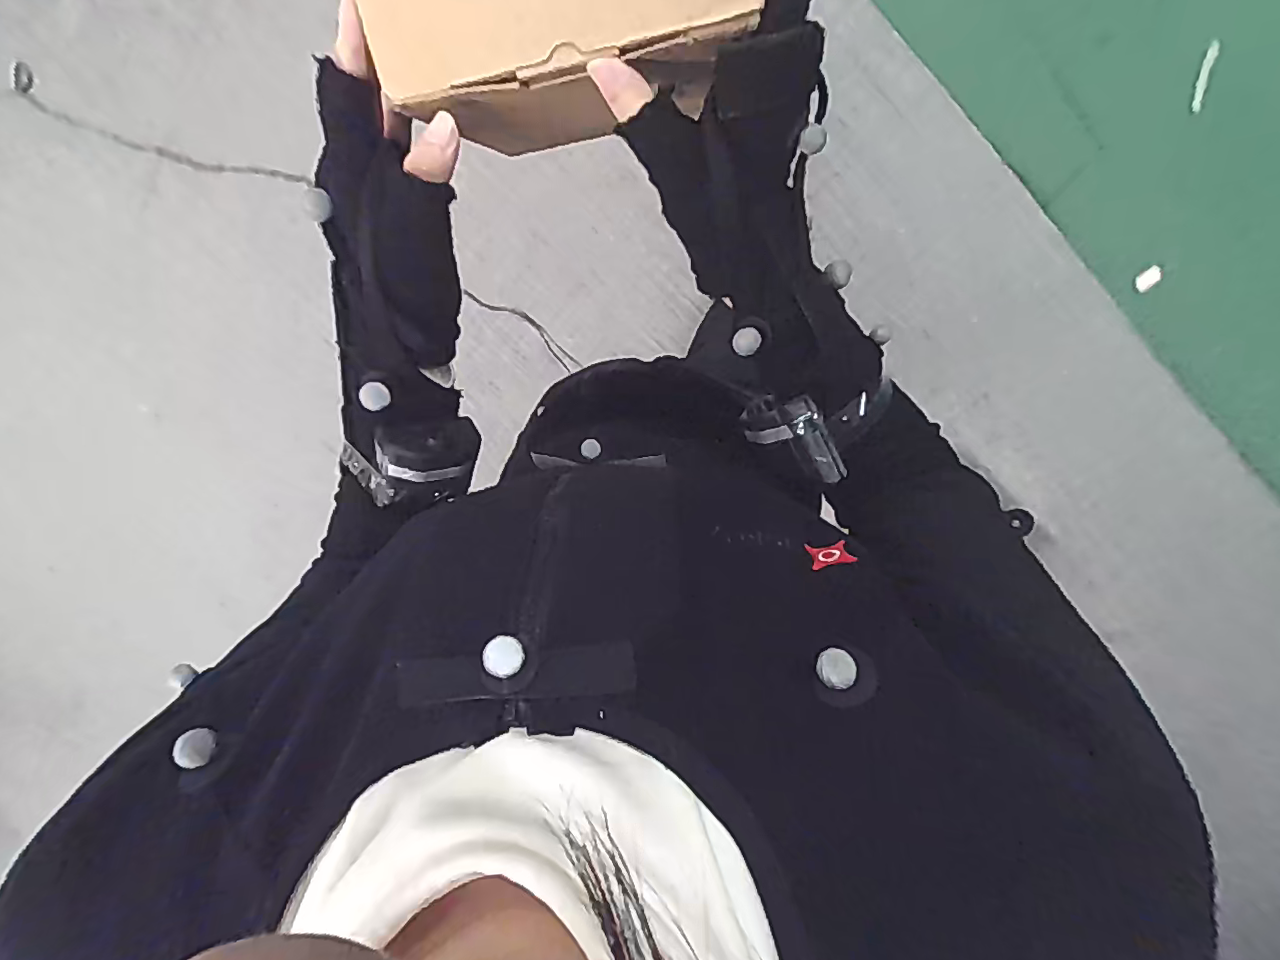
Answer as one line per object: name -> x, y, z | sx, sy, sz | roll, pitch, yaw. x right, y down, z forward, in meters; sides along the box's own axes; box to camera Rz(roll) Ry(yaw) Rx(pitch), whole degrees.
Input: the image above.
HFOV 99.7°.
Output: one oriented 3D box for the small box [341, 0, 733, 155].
small box -> -0.046, -0.283, 0.275 | 0.168, 0.176, 0.179 | -8, 112, 9
